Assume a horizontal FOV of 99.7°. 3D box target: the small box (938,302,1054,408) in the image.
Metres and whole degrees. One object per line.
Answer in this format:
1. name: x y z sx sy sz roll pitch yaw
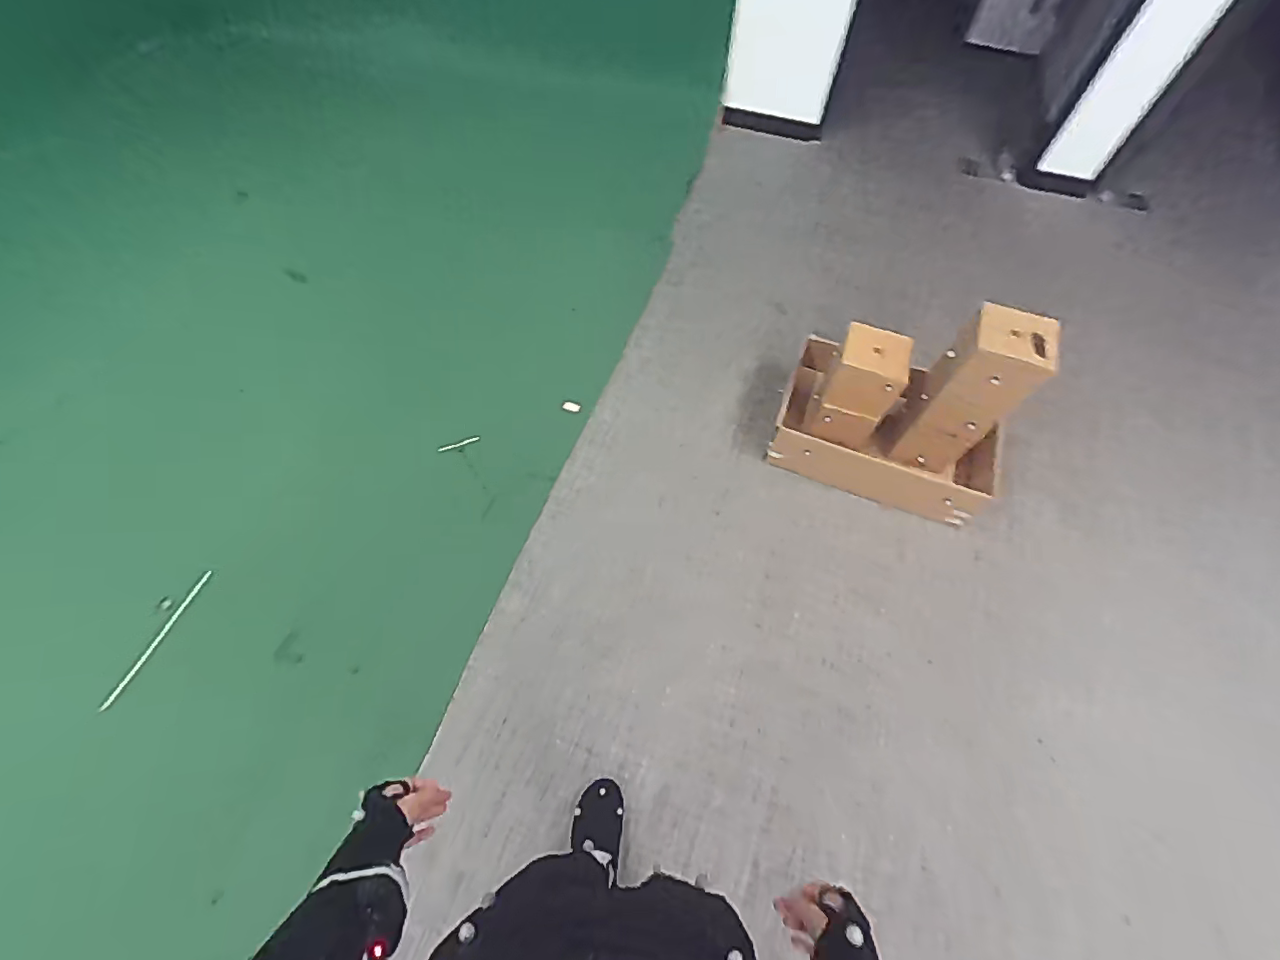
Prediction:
1. small box: 0.873 -0.301 1.334 0.179 0.176 0.168 19 63 10

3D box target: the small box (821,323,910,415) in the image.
1. small box: 0.628 -0.306 1.519 0.179 0.176 0.168 18 62 6

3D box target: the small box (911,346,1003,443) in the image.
1. small box: 0.867 -0.228 1.480 0.168 0.176 0.179 20 62 9
